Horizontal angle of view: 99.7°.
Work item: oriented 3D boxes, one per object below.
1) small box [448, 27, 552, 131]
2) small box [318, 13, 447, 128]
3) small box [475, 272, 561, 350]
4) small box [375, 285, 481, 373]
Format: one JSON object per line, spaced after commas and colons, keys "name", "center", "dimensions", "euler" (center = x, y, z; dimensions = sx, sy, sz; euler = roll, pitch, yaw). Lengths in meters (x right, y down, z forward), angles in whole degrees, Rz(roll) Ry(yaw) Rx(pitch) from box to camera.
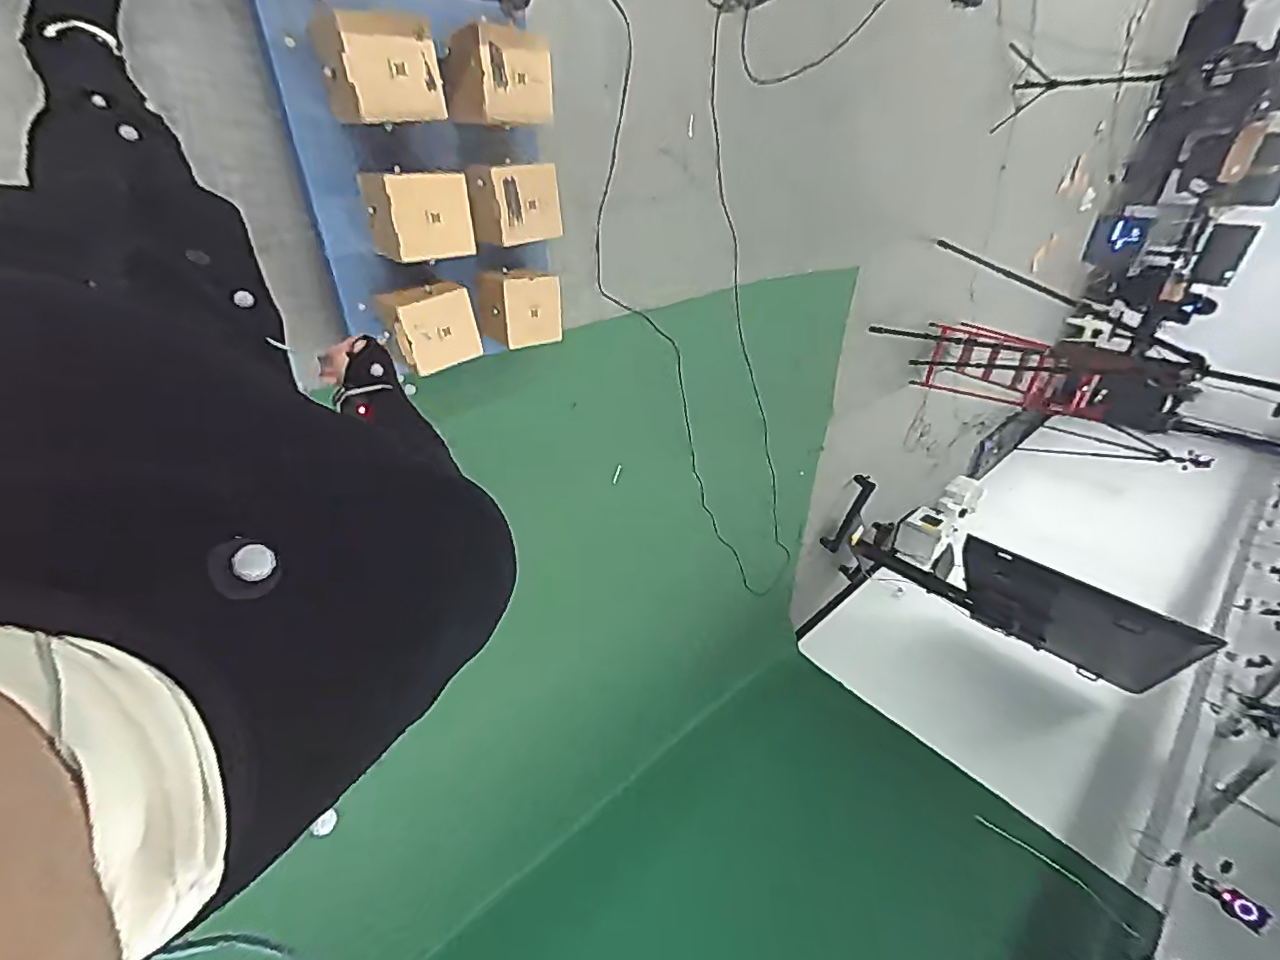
{"name": "small box", "center": [-0.320, -0.898, 1.227], "dimensions": [0.179, 0.176, 0.168], "euler": [-23, 129, -36]}
{"name": "small box", "center": [-0.518, -0.806, 1.080], "dimensions": [0.179, 0.176, 0.168], "euler": [-27, 130, -32]}
{"name": "small box", "center": [-0.334, -0.468, 1.475], "dimensions": [0.168, 0.176, 0.179], "euler": [-21, 127, -35]}
{"name": "small box", "center": [-0.521, -0.378, 1.332], "dimensions": [0.179, 0.176, 0.168], "euler": [-24, 126, -33]}
